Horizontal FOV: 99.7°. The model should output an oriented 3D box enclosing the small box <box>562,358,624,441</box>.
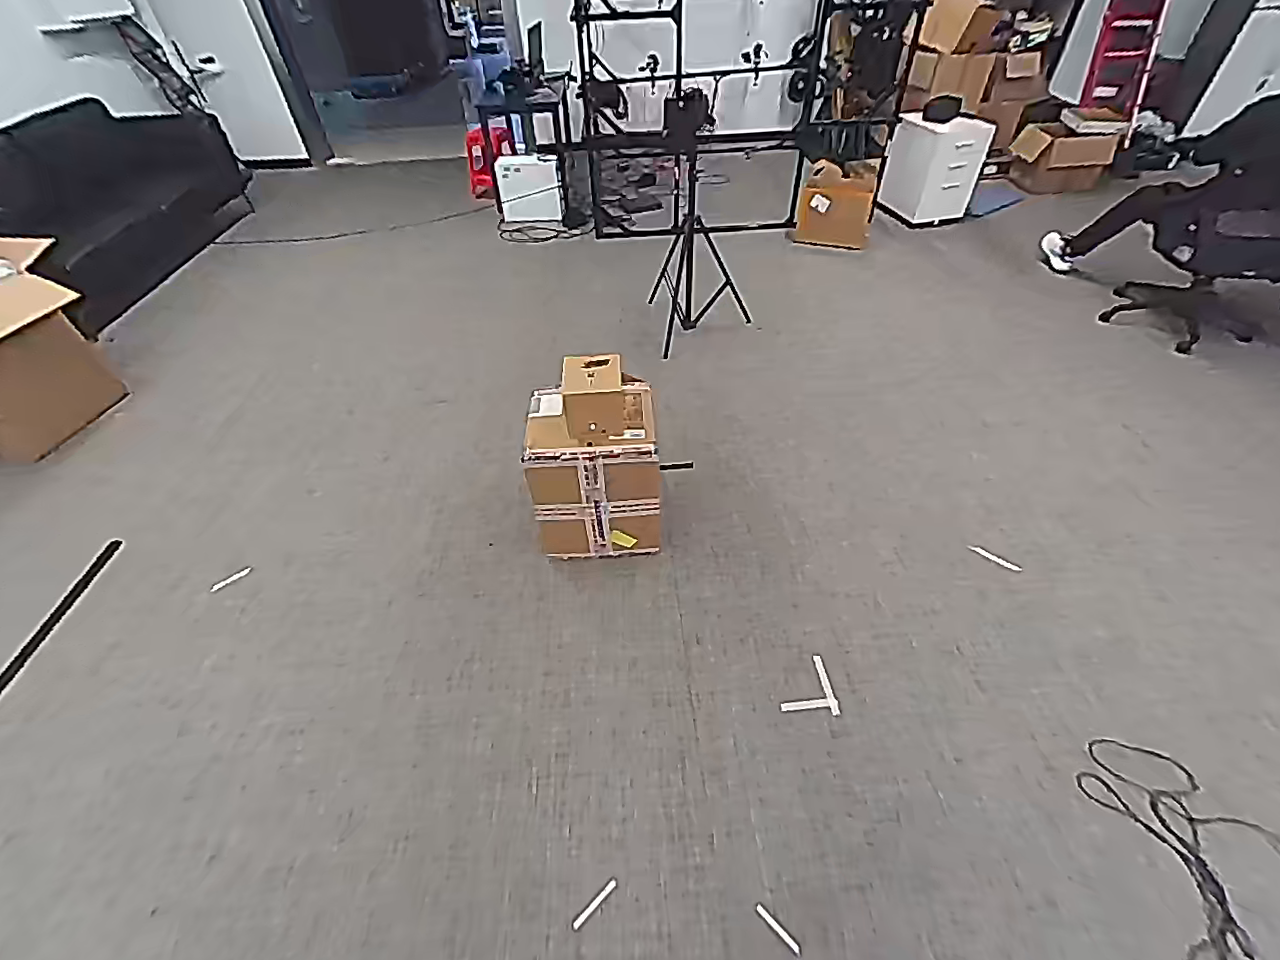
[{"bbox_3d":[-0.134,-0.236,1.592,0.168,0.176,0.179,-4,48,-1],"label":"small box"}]
